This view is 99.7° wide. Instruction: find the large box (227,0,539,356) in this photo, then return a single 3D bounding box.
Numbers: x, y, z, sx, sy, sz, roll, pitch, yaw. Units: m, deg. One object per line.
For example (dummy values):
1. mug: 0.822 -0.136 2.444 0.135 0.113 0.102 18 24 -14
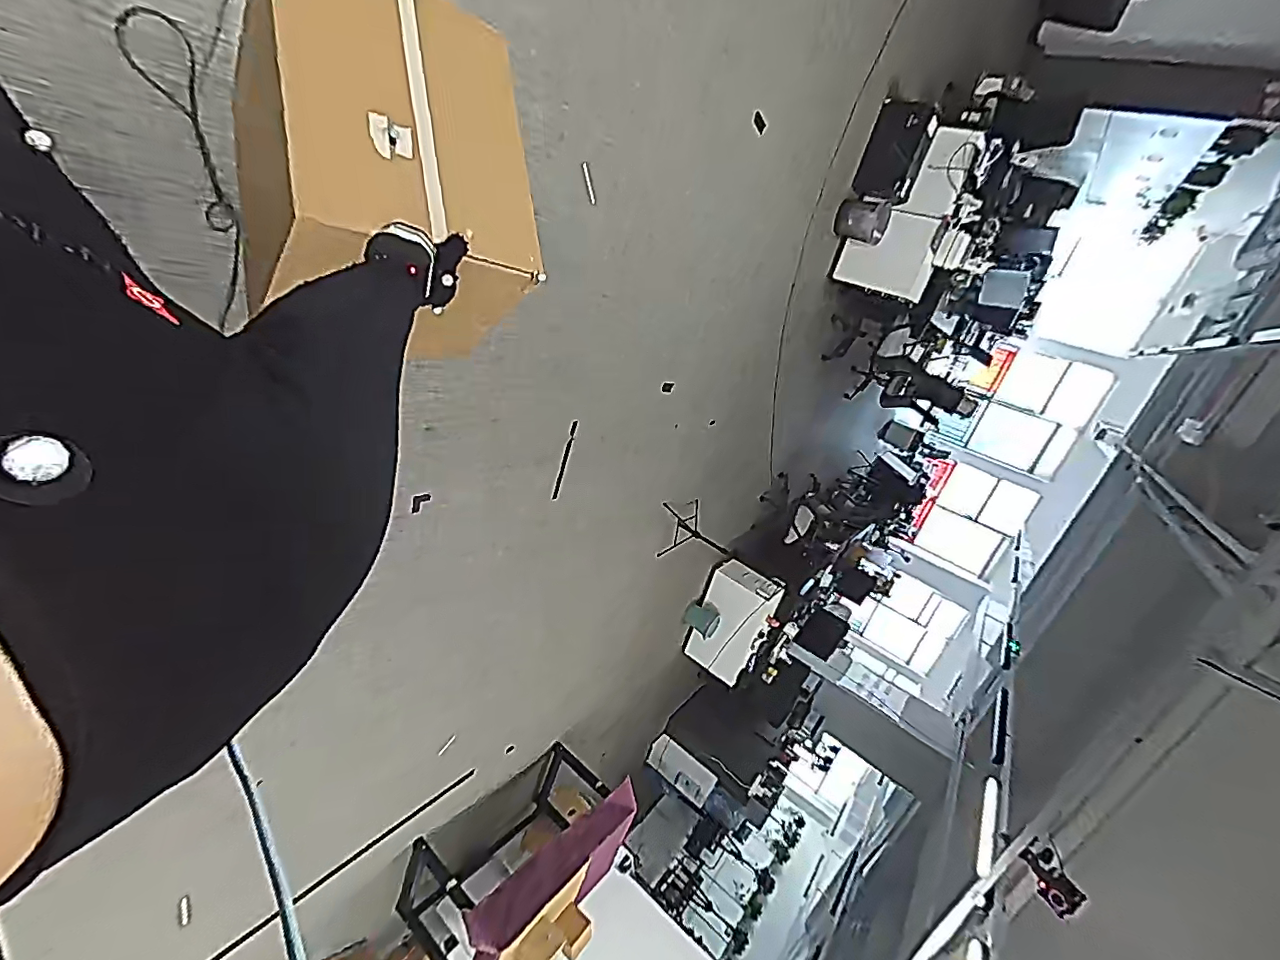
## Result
1. large box: -0.397 -0.447 0.825 0.320 0.320 0.408 -4 81 -44
